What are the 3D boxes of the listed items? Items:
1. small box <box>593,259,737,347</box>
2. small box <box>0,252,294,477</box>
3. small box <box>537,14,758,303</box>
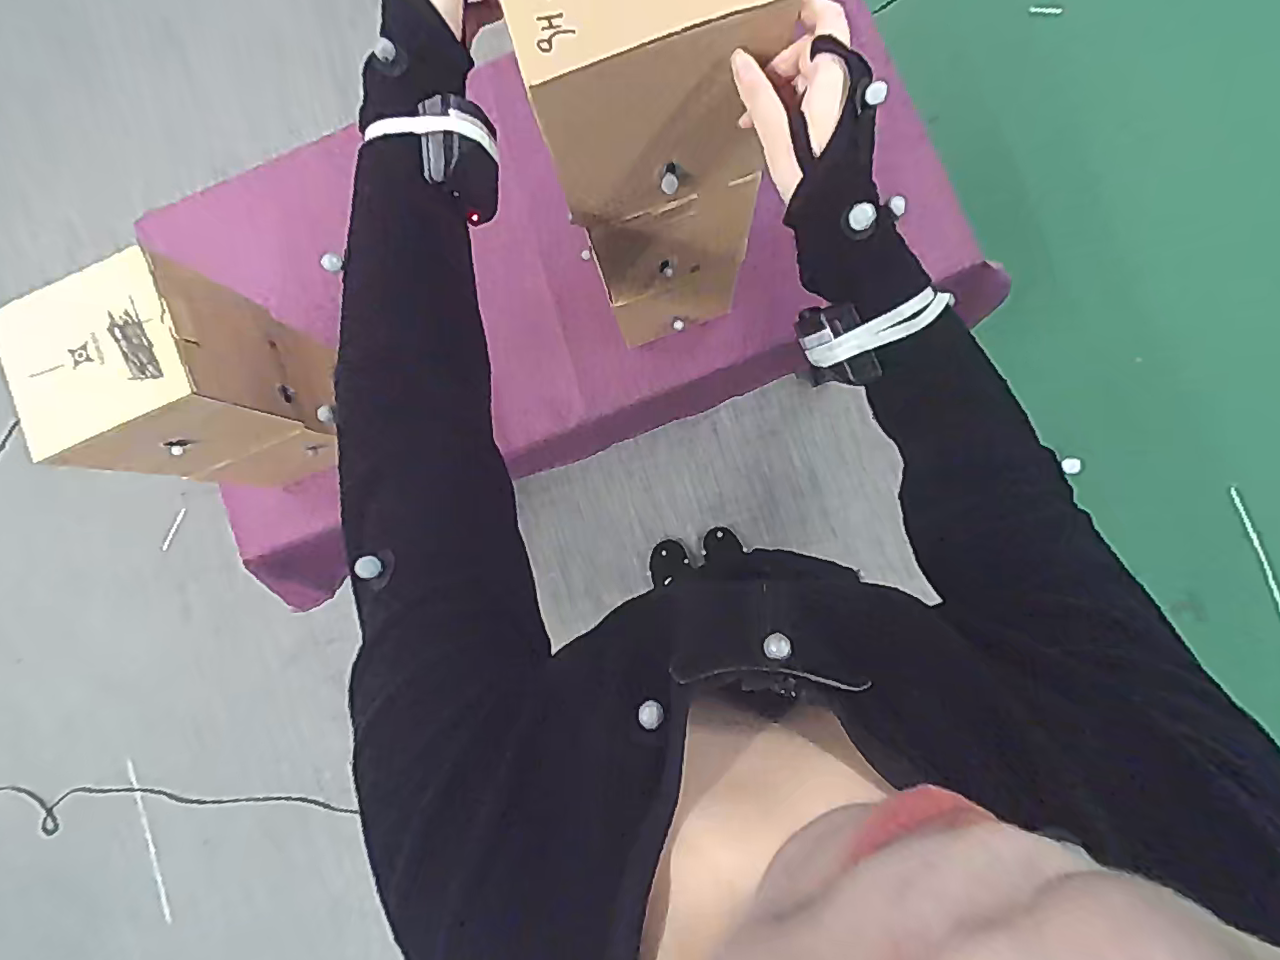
[{"bbox_3d":[0.020,-0.307,0.736,0.168,0.176,0.179,-19,85,4],"label":"small box"},{"bbox_3d":[-0.528,-0.112,0.602,0.179,0.176,0.168,-23,85,2],"label":"small box"},{"bbox_3d":[0.009,-0.319,0.574,0.168,0.176,0.179,-19,86,3],"label":"small box"}]
